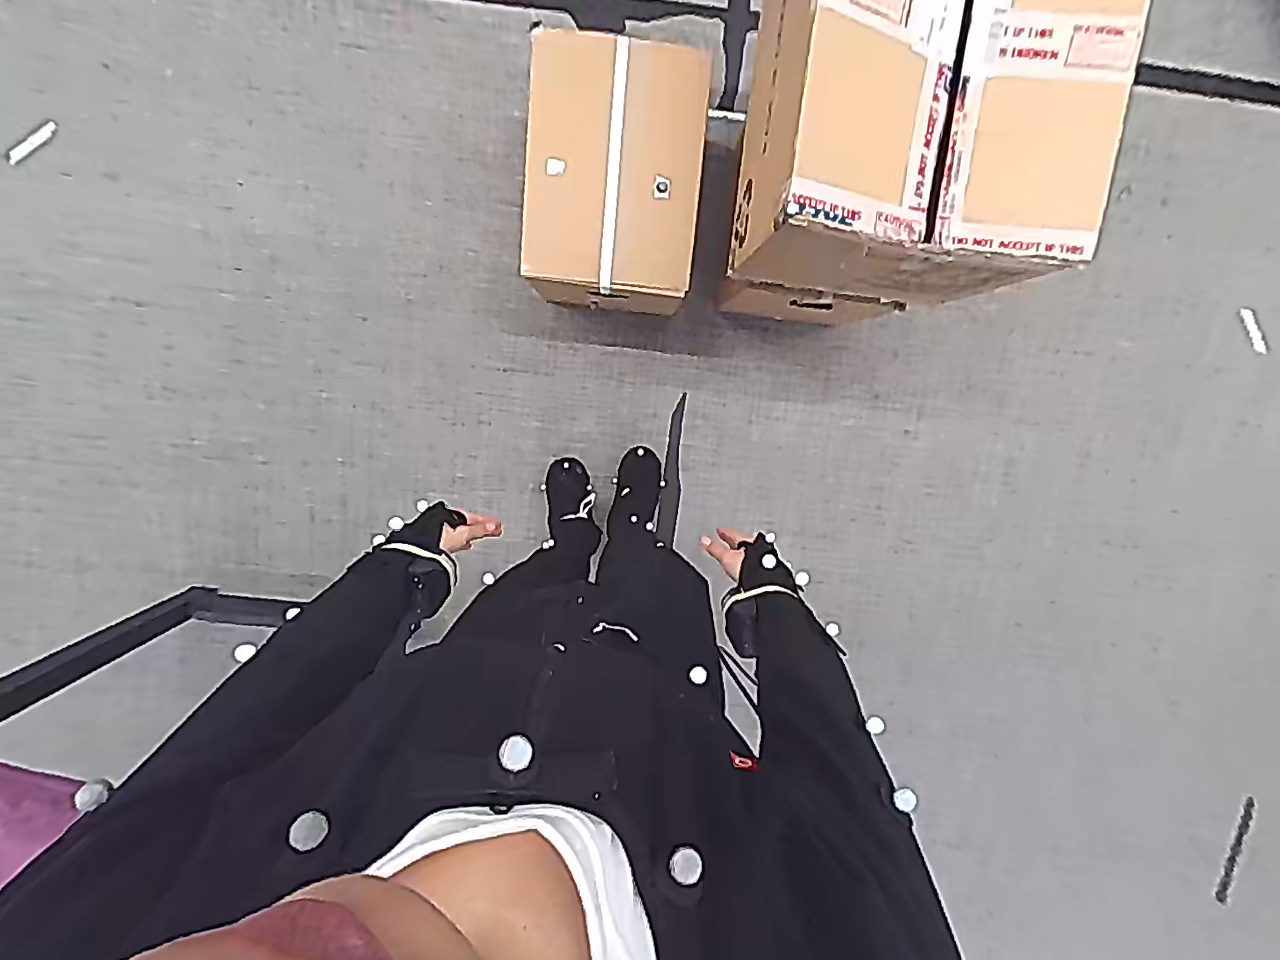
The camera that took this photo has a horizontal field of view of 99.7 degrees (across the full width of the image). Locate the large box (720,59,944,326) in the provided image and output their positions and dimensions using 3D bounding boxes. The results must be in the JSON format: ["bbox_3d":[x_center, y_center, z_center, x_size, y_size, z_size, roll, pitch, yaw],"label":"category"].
[{"bbox_3d":[0.365,-0.554,1.125,0.320,0.320,0.408,5,100,-3],"label":"large box"}]
